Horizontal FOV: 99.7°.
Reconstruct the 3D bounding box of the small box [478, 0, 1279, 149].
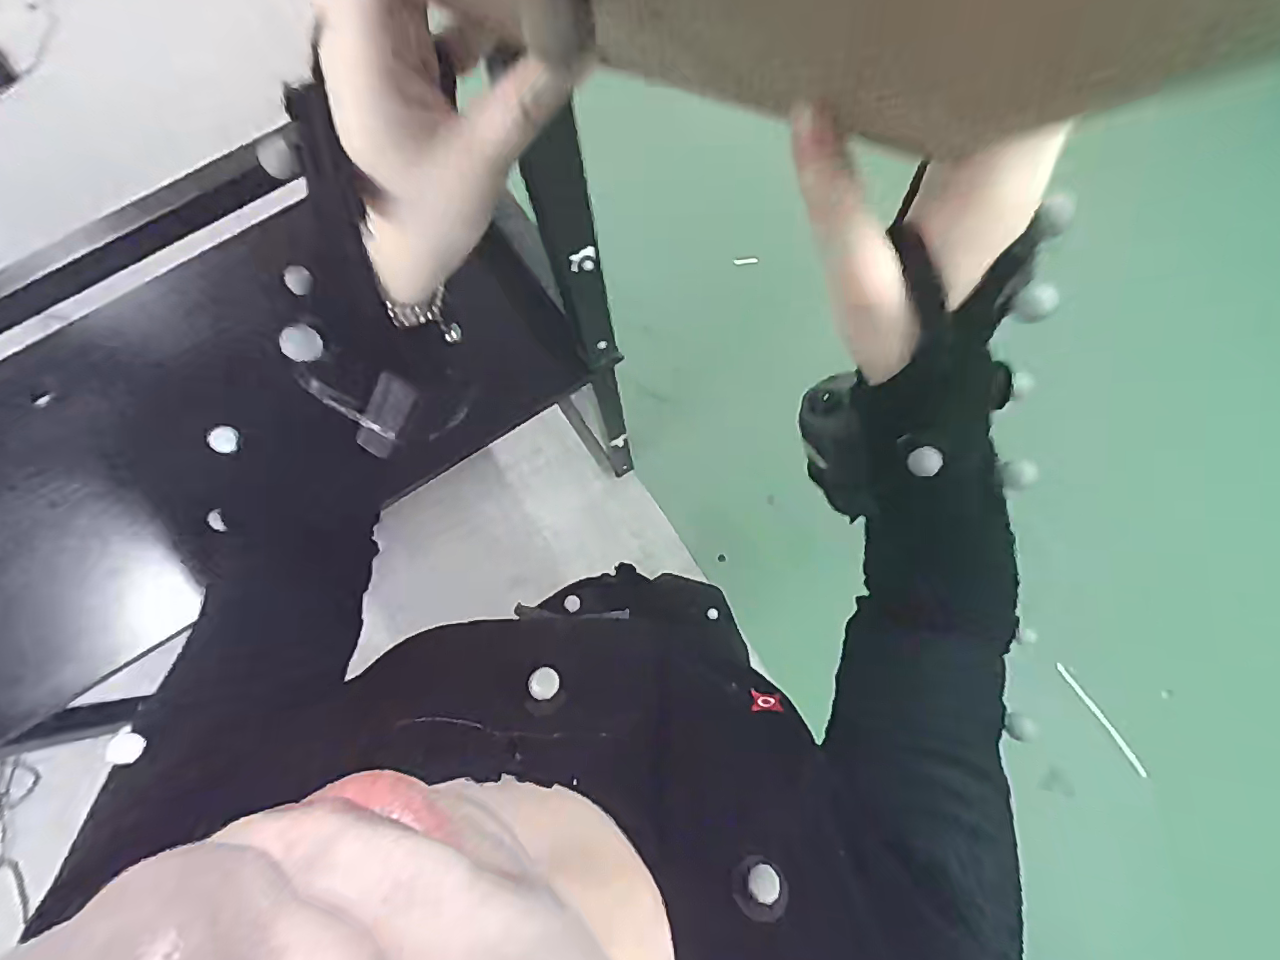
[{"bbox_3d":[0.032,-0.178,0.095,0.179,0.176,0.168,20,119,4],"label":"small box"}]
